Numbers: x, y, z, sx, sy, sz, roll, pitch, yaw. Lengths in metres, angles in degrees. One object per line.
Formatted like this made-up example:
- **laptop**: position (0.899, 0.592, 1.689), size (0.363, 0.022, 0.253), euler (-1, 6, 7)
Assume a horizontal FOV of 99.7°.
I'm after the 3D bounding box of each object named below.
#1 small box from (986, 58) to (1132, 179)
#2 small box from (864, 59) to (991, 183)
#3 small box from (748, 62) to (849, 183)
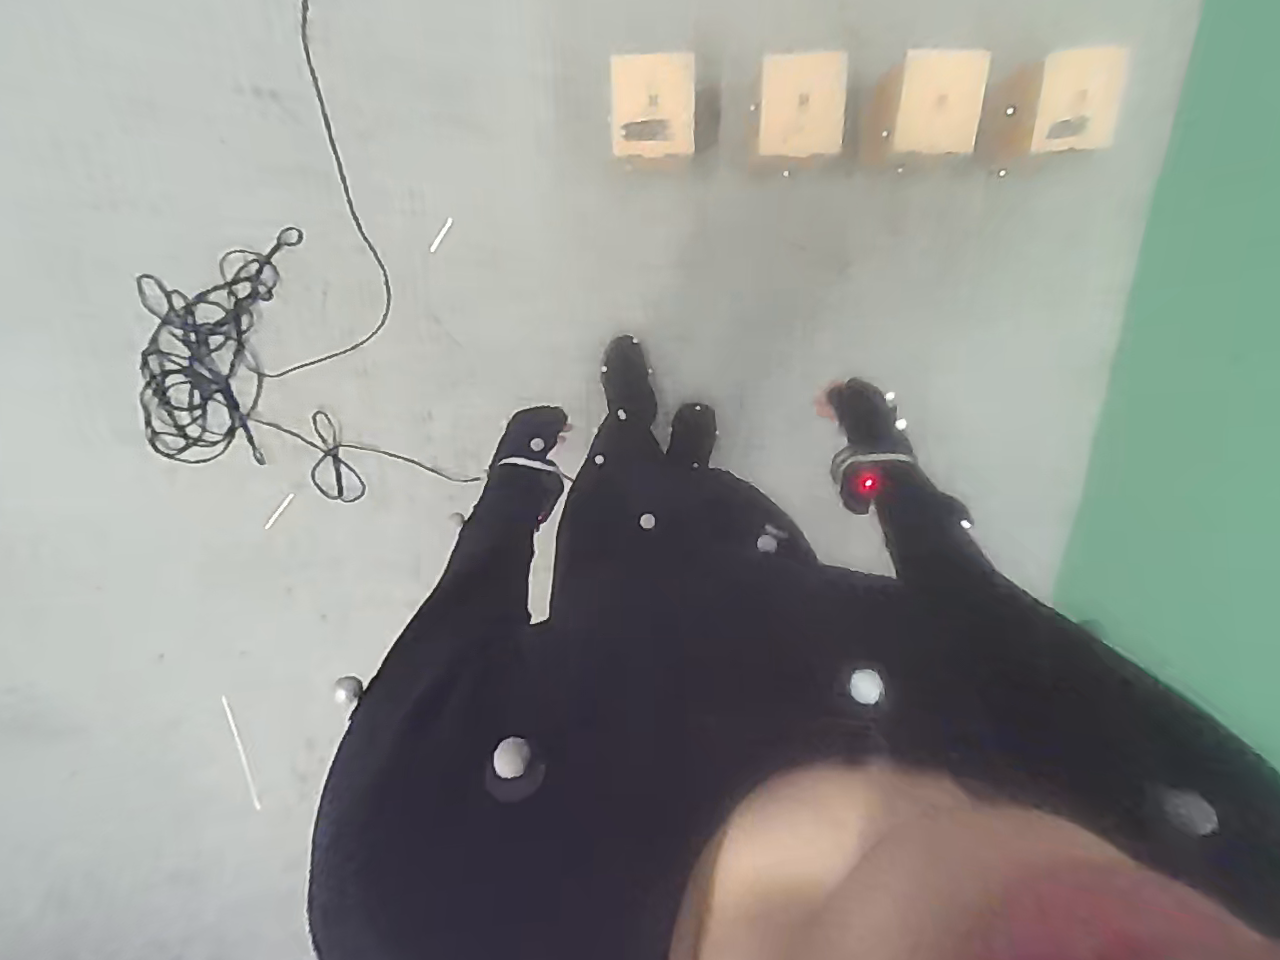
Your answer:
- **small box**: position (0.862, -0.745, 1.135), size (0.168, 0.176, 0.179), euler (-2, 107, 1)
- **small box**: position (0.593, -0.746, 1.140), size (0.168, 0.176, 0.179), euler (1, 107, 0)
- **small box**: position (0.325, -0.746, 1.142), size (0.168, 0.176, 0.179), euler (0, 108, 2)
